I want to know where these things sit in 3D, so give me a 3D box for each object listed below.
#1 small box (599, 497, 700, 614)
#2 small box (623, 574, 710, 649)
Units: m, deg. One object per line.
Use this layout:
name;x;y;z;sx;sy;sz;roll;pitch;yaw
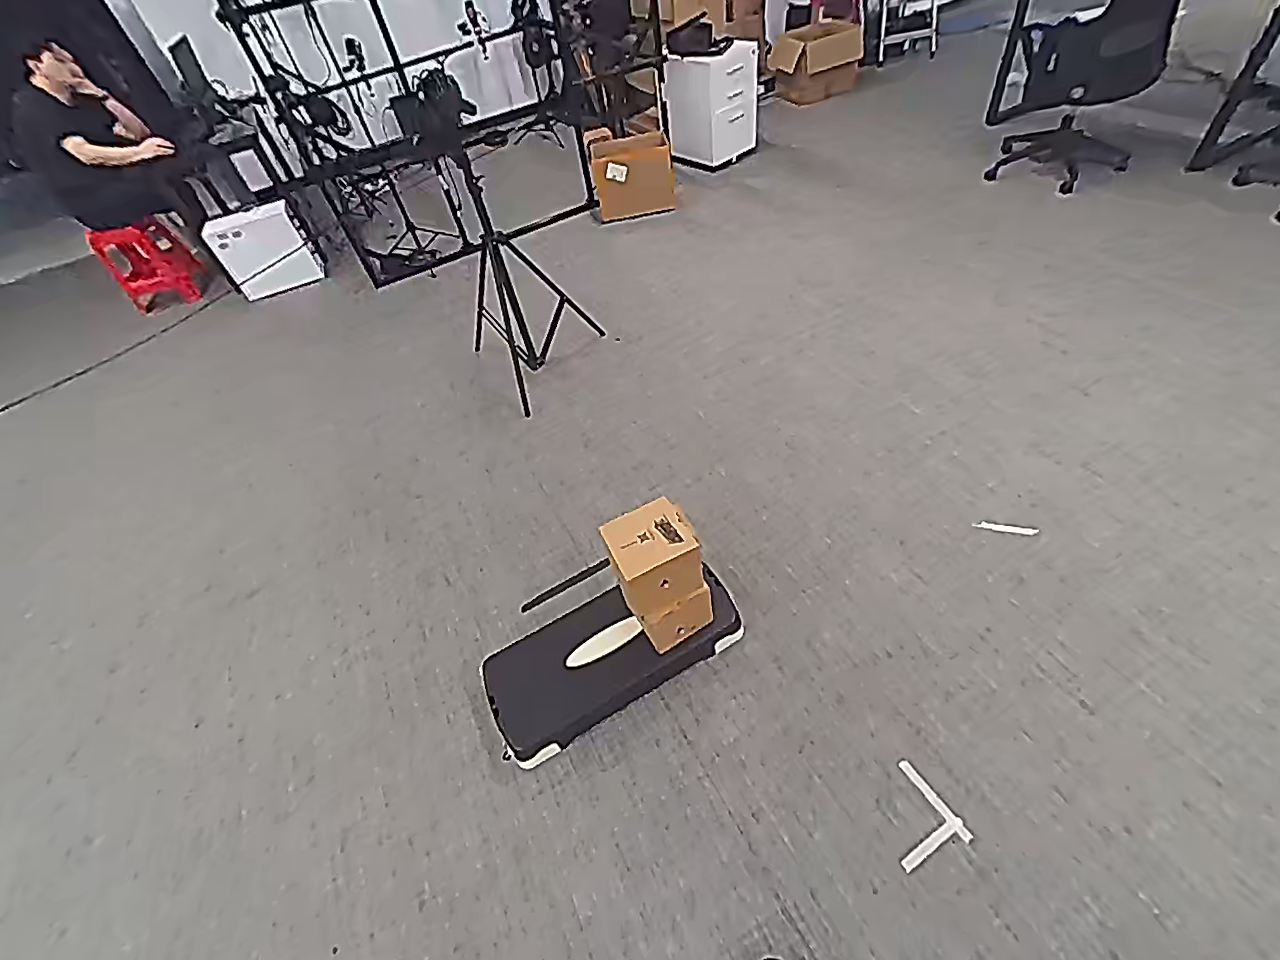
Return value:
small box;0.027;0.176;1.245;0.179;0.176;0.168;-25;50;-10
small box;0.062;0.290;1.359;0.168;0.176;0.179;-29;51;-14
